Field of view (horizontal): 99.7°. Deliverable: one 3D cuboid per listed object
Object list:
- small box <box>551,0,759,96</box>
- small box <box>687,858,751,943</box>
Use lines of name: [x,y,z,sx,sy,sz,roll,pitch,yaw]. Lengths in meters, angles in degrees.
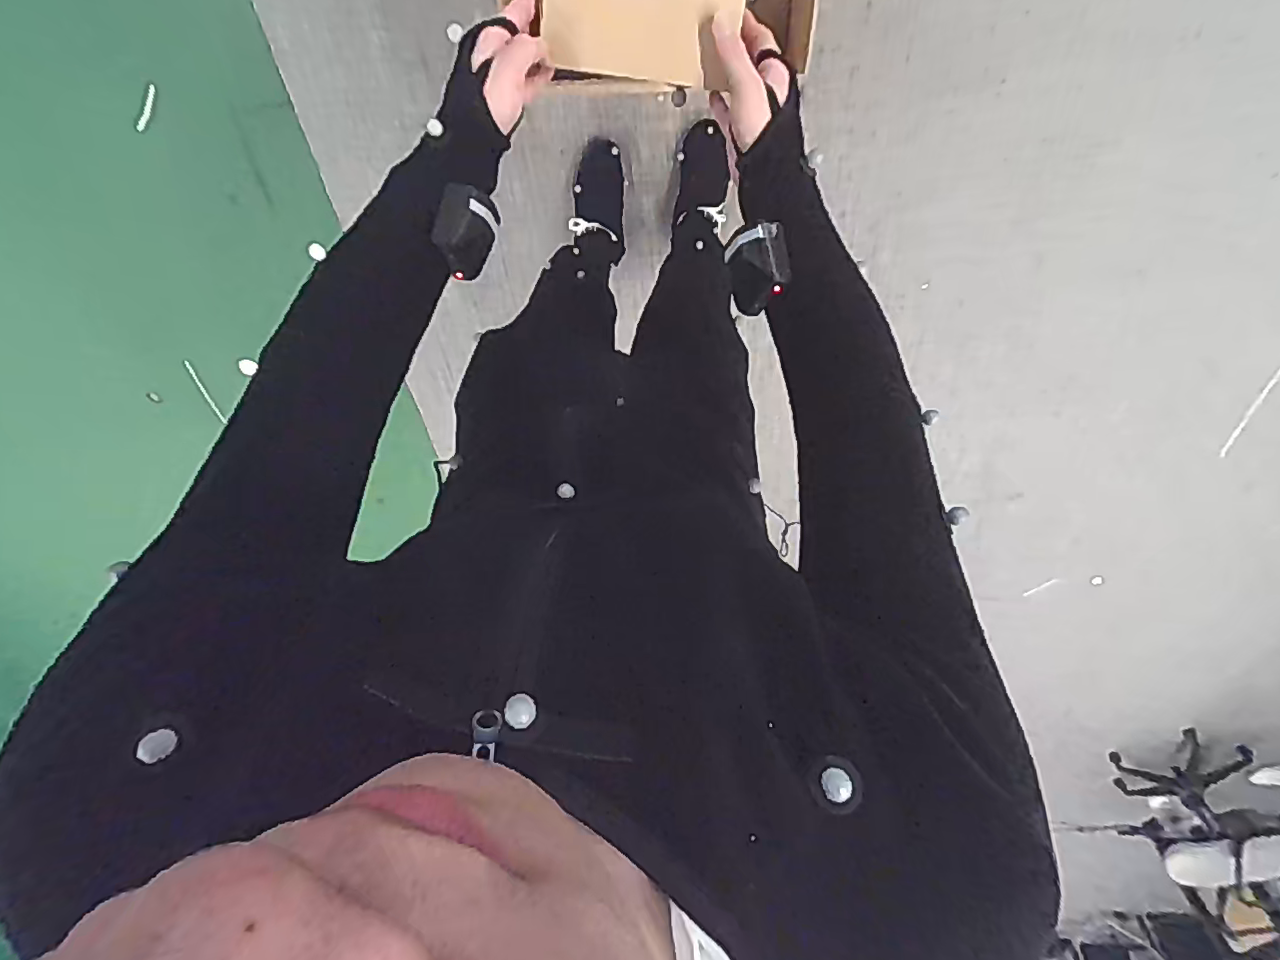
small box: [0.020,-0.475,0.504,0.179,0.176,0.168,8,127,-2]
small box: [0.232,1.244,1.603,0.179,0.176,0.168,-5,129,6]
